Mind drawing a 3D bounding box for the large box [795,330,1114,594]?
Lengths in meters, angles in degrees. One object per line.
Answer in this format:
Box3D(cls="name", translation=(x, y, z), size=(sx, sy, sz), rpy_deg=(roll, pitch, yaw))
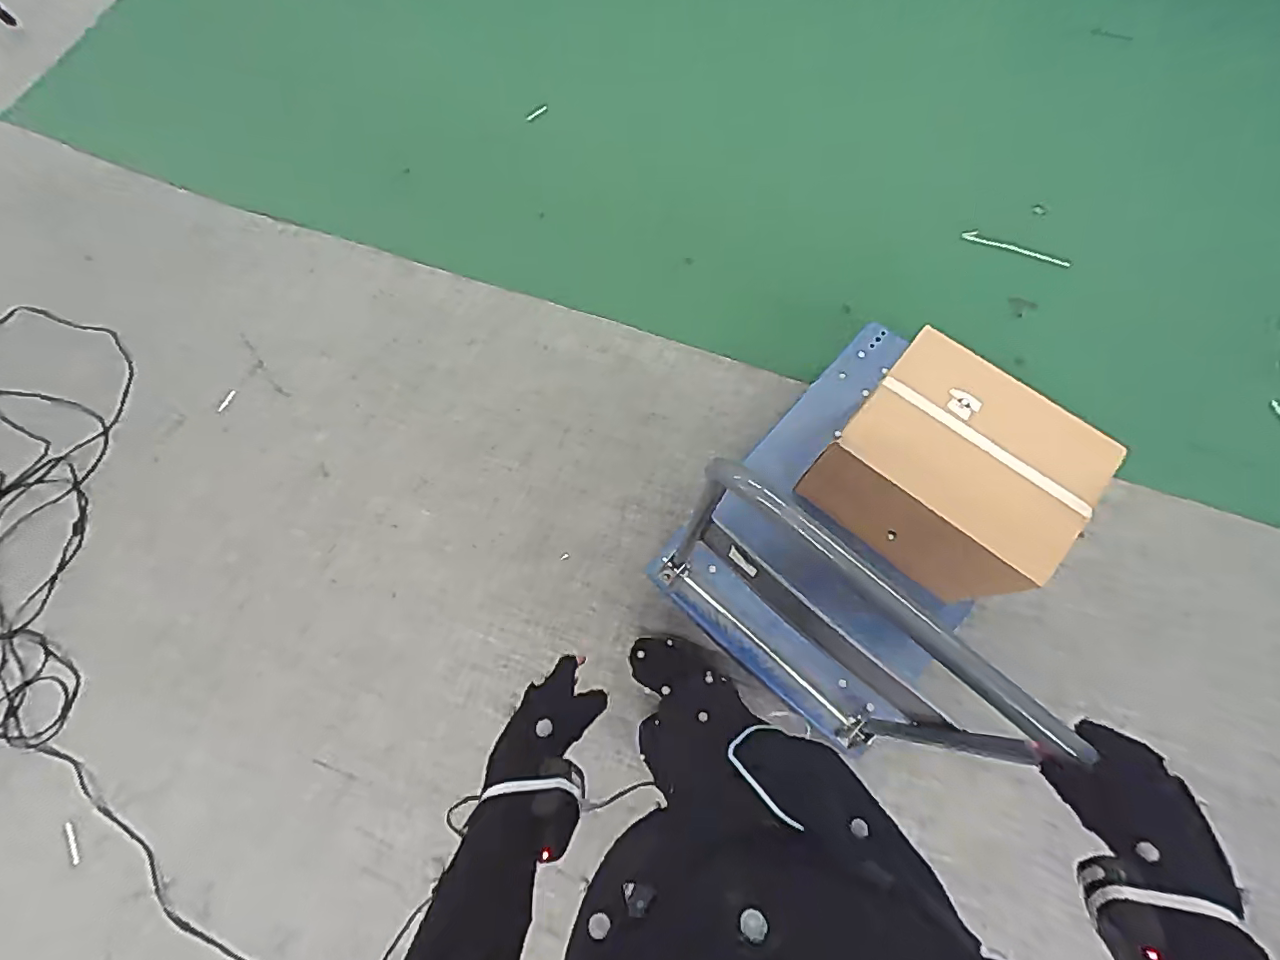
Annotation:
Box3D(cls="large box", translation=(0.599, -0.018, 1.109), size=(0.408, 0.320, 0.320), rpy_deg=(38, 77, 13))
